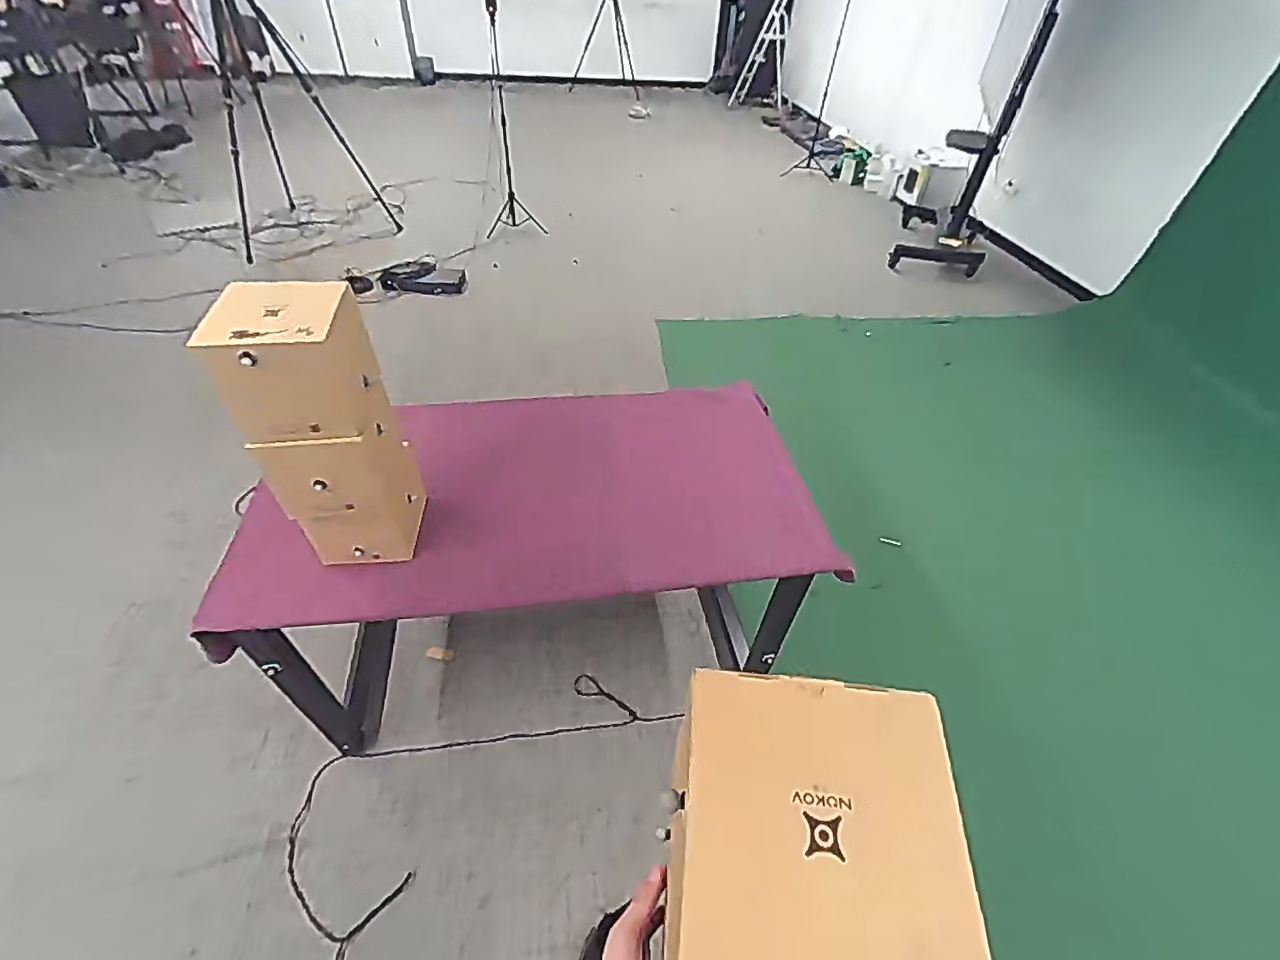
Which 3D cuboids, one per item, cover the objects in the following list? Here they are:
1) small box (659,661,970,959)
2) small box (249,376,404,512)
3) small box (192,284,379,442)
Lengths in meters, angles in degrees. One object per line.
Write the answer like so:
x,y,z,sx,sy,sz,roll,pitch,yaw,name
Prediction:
0.105,0.253,0.392,0.168,0.176,0.179,4,52,5,small box
-0.518,-0.057,0.927,0.168,0.176,0.179,-4,46,-9,small box
-0.510,-0.178,0.815,0.168,0.176,0.179,-5,46,-9,small box
